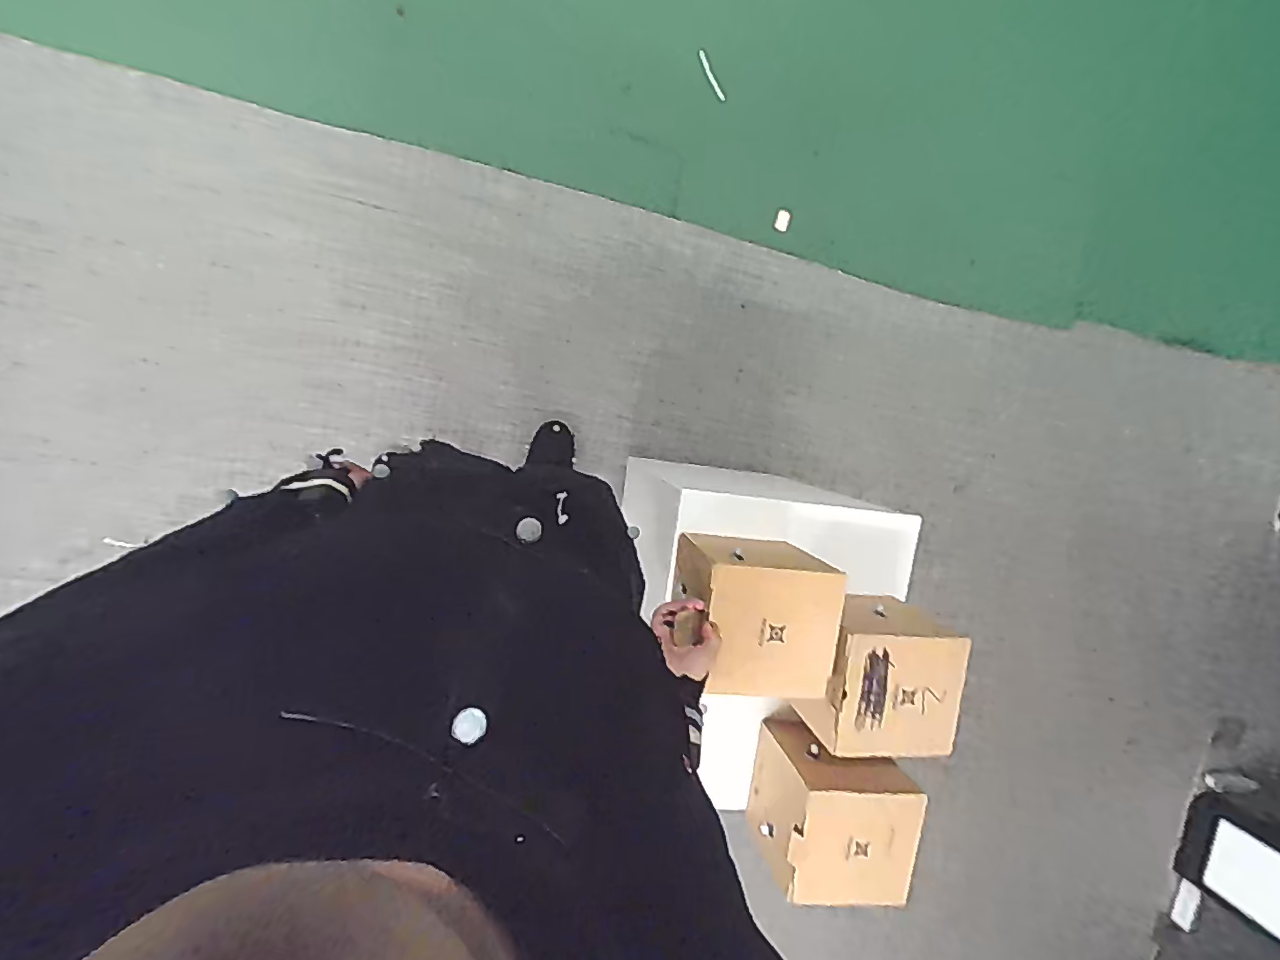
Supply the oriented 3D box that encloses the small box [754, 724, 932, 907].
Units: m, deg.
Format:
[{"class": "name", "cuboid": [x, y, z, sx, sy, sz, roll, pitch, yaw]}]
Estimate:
[{"class": "small box", "cuboid": [0.285, 0.481, 0.796, 0.179, 0.176, 0.168, 6, 97, -11]}]
